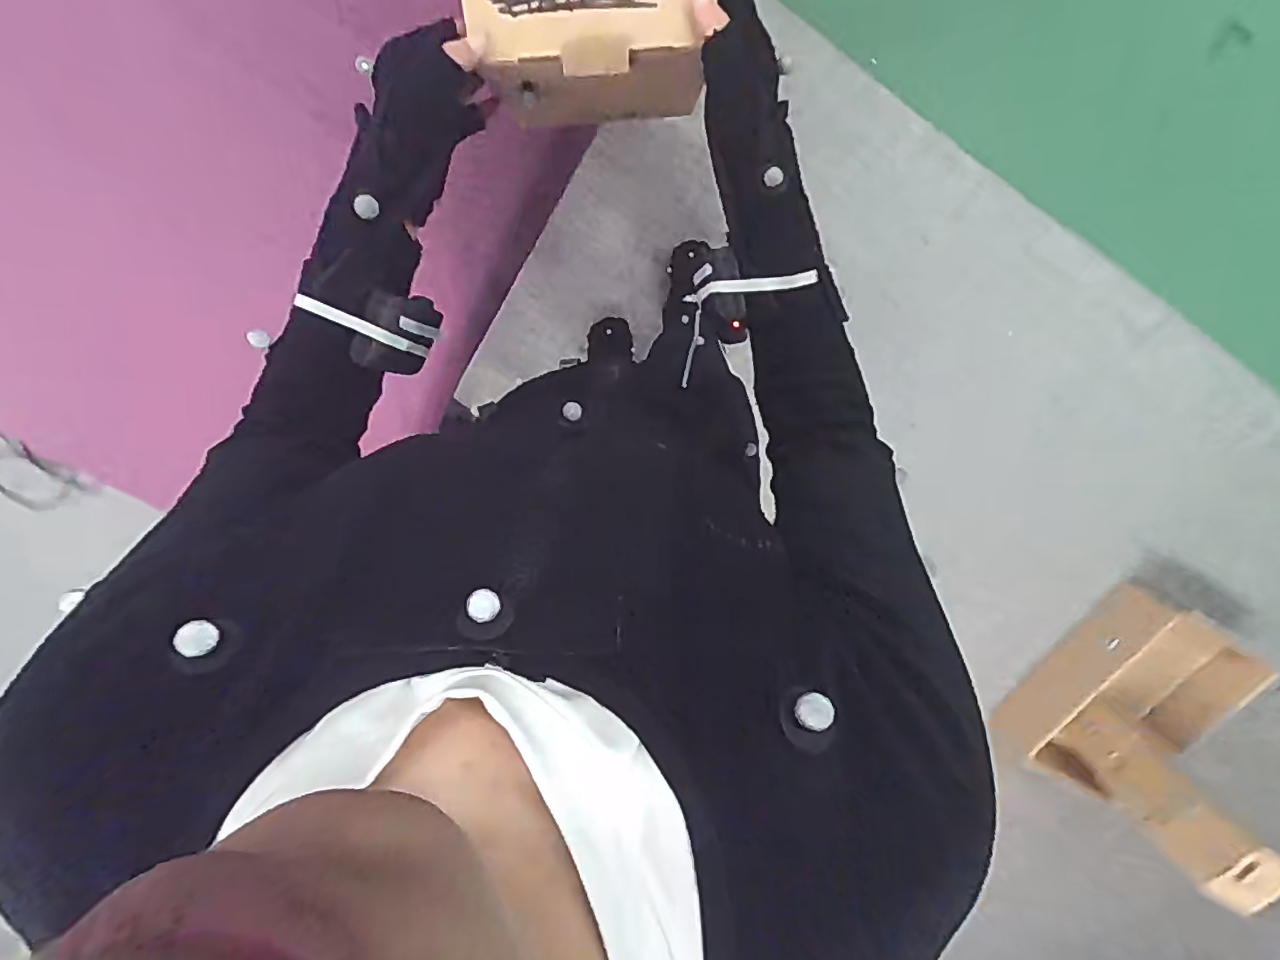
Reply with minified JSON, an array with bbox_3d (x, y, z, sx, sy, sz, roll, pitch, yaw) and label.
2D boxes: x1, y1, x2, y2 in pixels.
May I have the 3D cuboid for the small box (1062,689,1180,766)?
[{"bbox_3d":[1.473,0.779,1.669,0.179,0.176,0.168,23,107,-9],"label":"small box"}]

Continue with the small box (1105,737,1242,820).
[{"bbox_3d":[1.468,0.853,1.502,0.179,0.176,0.168,28,107,-10],"label":"small box"}]
